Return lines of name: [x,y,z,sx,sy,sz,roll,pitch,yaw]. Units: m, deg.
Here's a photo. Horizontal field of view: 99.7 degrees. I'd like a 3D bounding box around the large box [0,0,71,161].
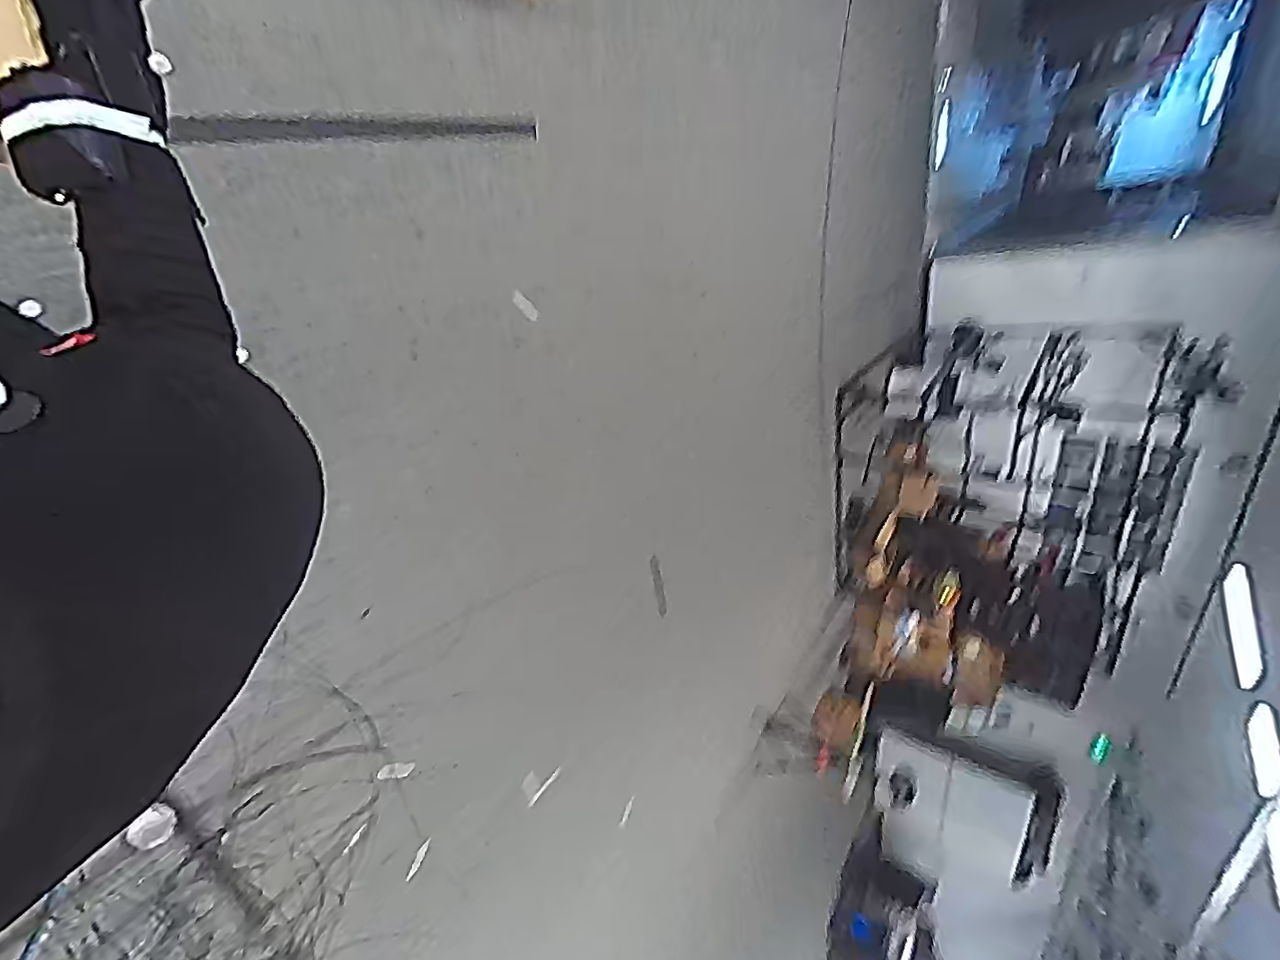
large box: [-0.636,-0.369,0.261,0.408,0.320,0.320,-24,124,-49]
